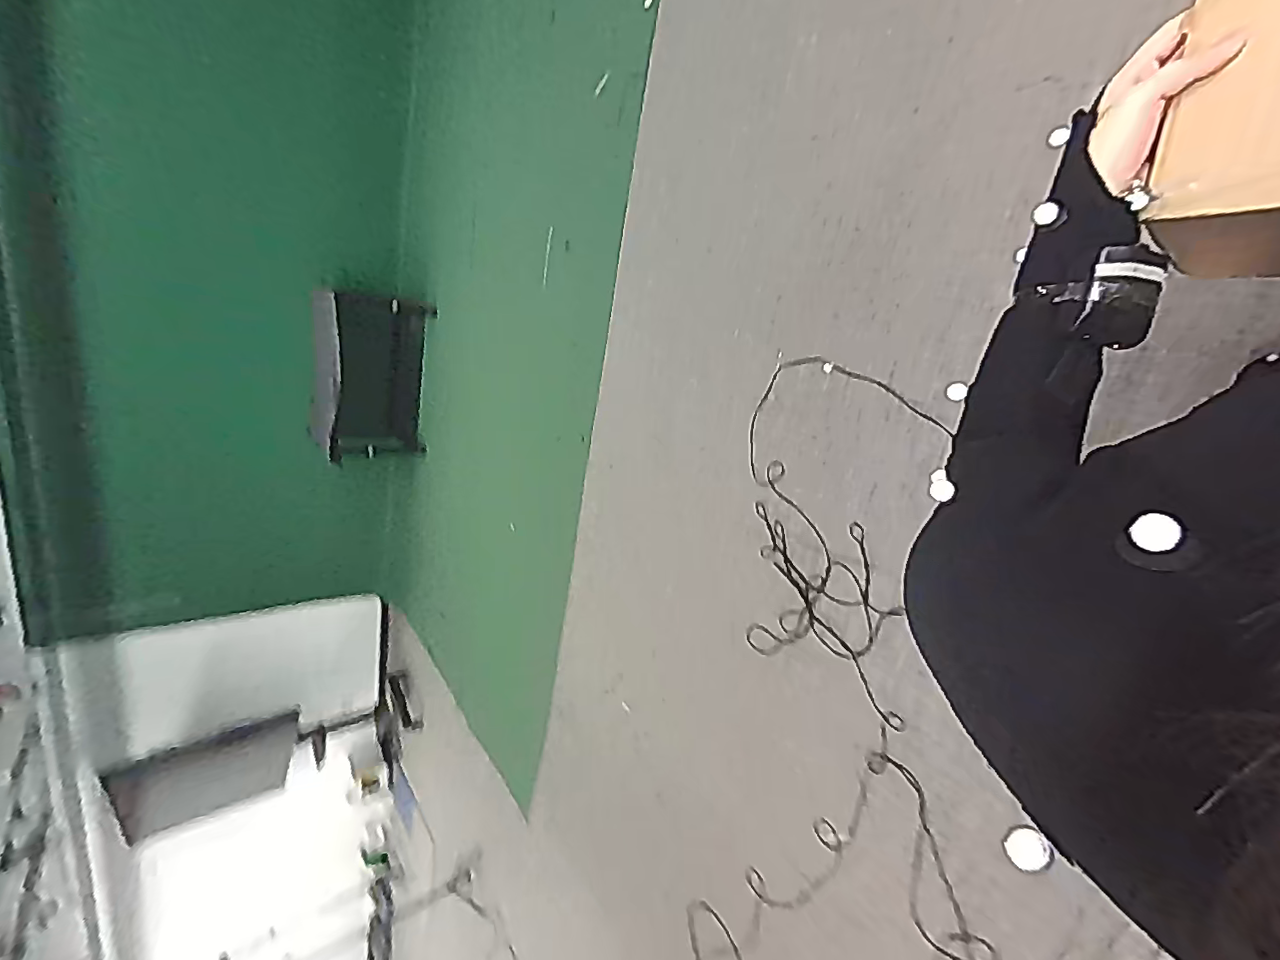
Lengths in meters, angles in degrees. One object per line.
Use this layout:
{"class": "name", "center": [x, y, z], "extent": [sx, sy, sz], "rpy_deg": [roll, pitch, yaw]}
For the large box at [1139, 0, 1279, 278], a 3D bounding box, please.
{"class": "large box", "center": [0.630, -0.318, 0.328], "extent": [0.408, 0.320, 0.320], "rpy_deg": [17, 108, 49]}
